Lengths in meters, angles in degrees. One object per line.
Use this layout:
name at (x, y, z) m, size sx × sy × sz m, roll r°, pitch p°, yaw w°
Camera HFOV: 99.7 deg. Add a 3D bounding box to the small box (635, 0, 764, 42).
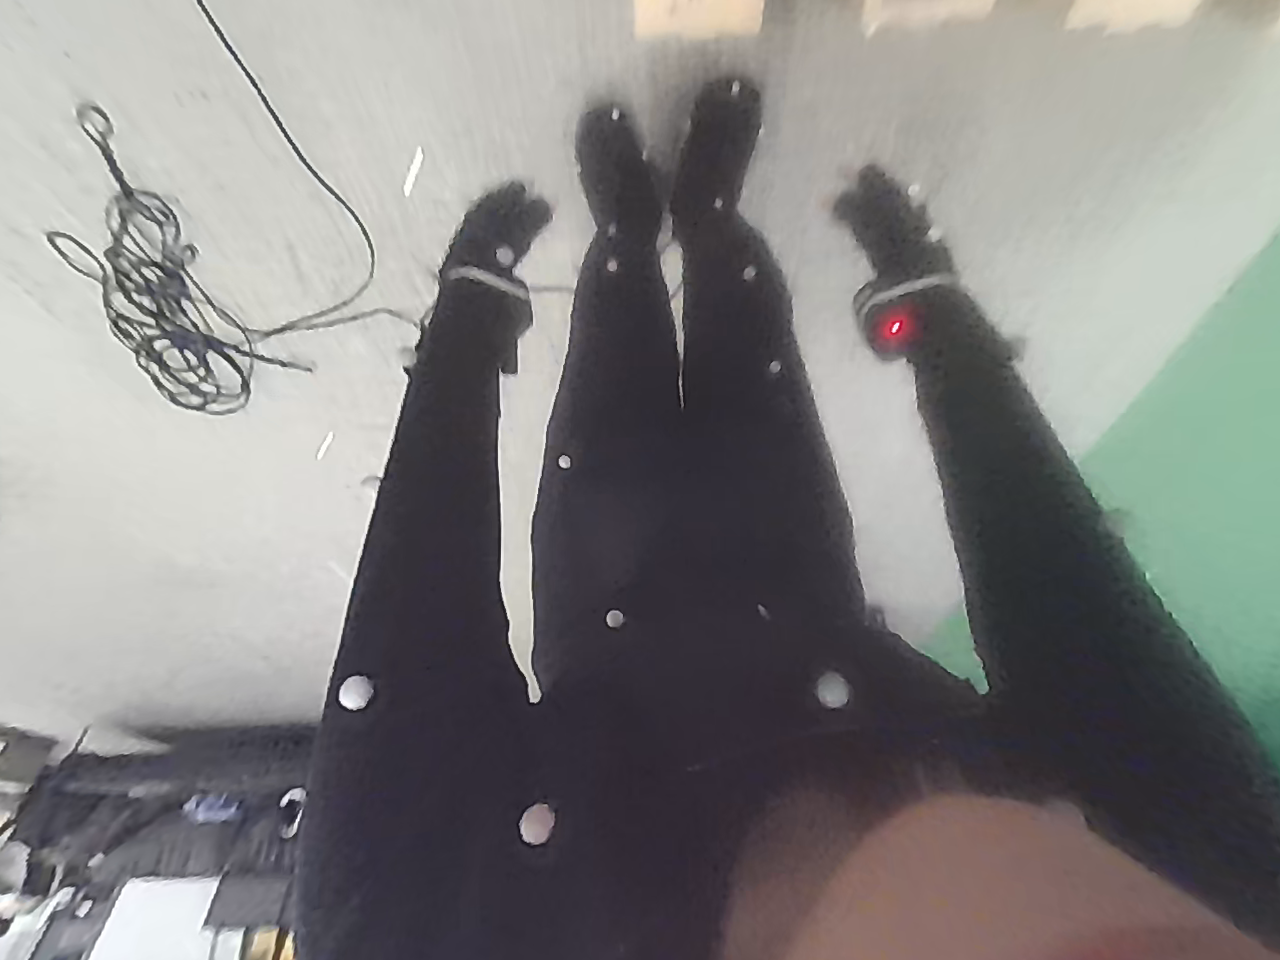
small box at (0.075, -0.695, 0.698) m, size 0.168 × 0.176 × 0.179 m, roll 0°, pitch 140°, yaw 2°
